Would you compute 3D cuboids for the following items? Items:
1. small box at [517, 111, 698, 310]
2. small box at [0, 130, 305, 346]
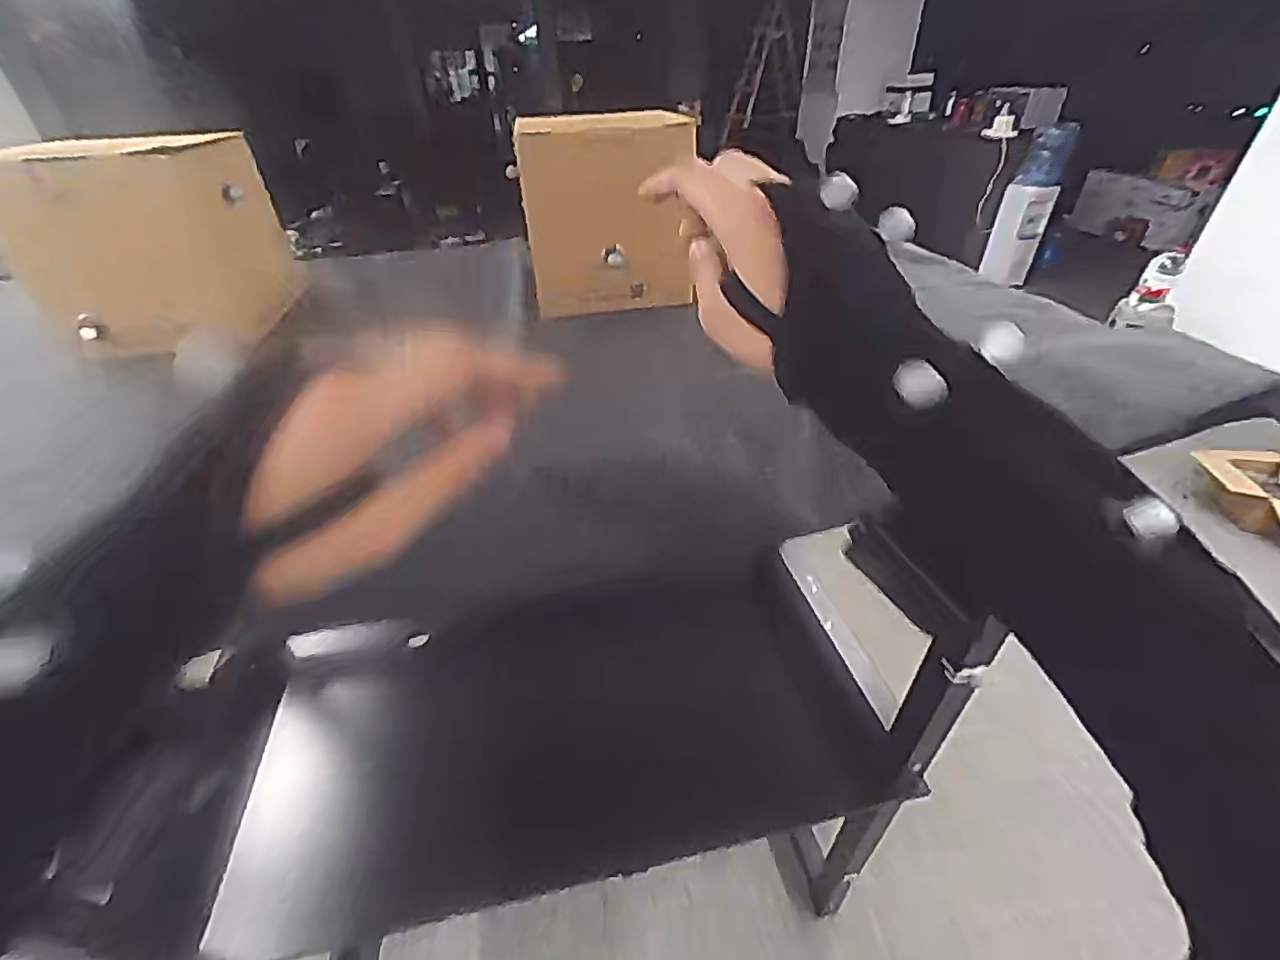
[{"bbox_3d":[-0.038,-0.301,0.598,0.168,0.176,0.179,-8,38,-6],"label":"small box"},{"bbox_3d":[-0.476,-0.243,0.549,0.168,0.176,0.179,-8,37,-8],"label":"small box"}]
